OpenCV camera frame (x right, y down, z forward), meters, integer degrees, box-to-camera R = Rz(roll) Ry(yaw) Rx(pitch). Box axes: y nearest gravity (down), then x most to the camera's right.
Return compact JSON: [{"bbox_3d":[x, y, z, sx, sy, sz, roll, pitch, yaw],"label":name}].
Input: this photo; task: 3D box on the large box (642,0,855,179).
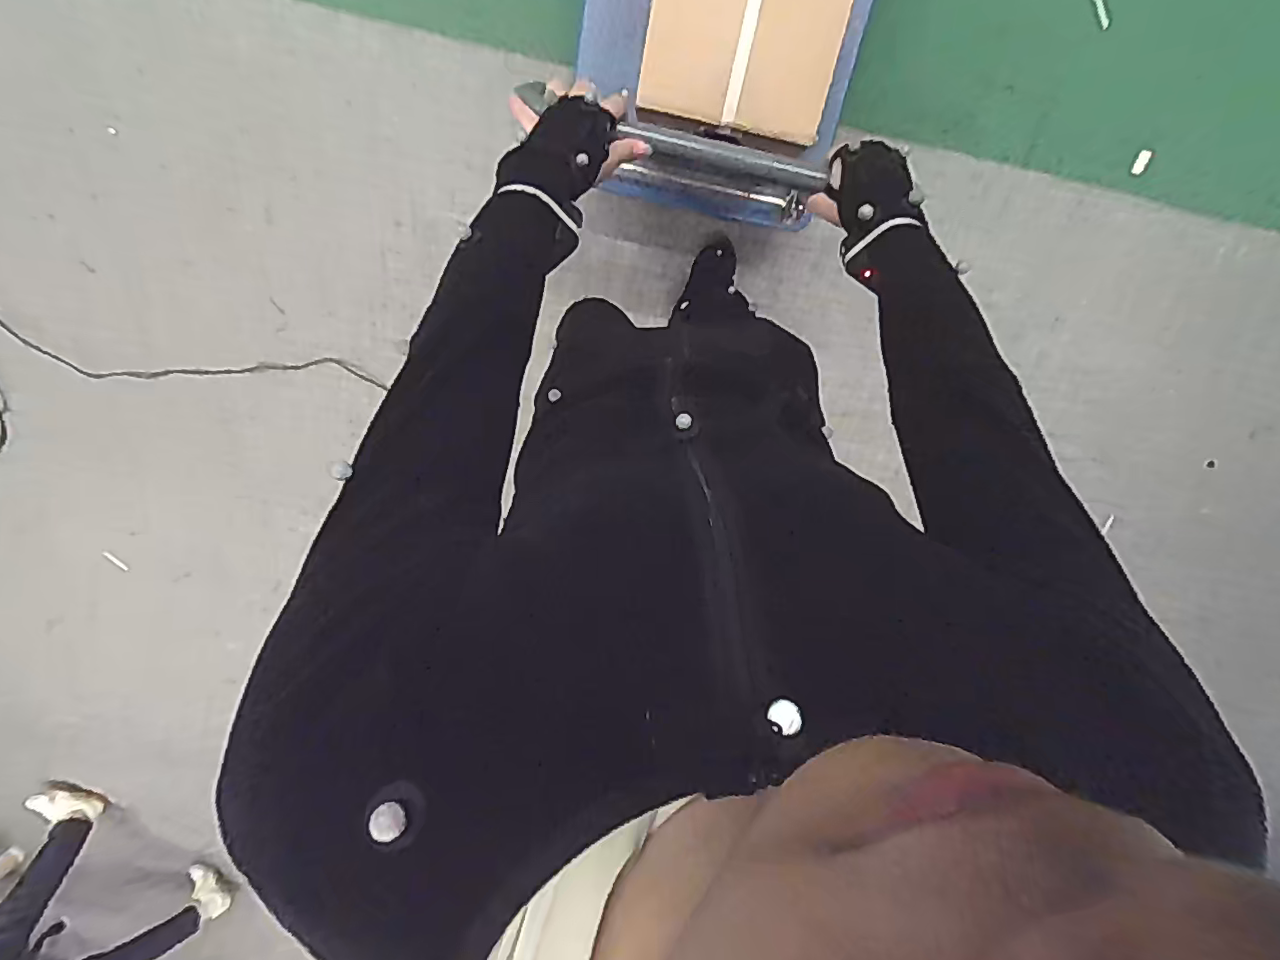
[{"bbox_3d":[0.191,-0.821,0.983,0.320,0.320,0.408,11,109,-3],"label":"large box"}]
